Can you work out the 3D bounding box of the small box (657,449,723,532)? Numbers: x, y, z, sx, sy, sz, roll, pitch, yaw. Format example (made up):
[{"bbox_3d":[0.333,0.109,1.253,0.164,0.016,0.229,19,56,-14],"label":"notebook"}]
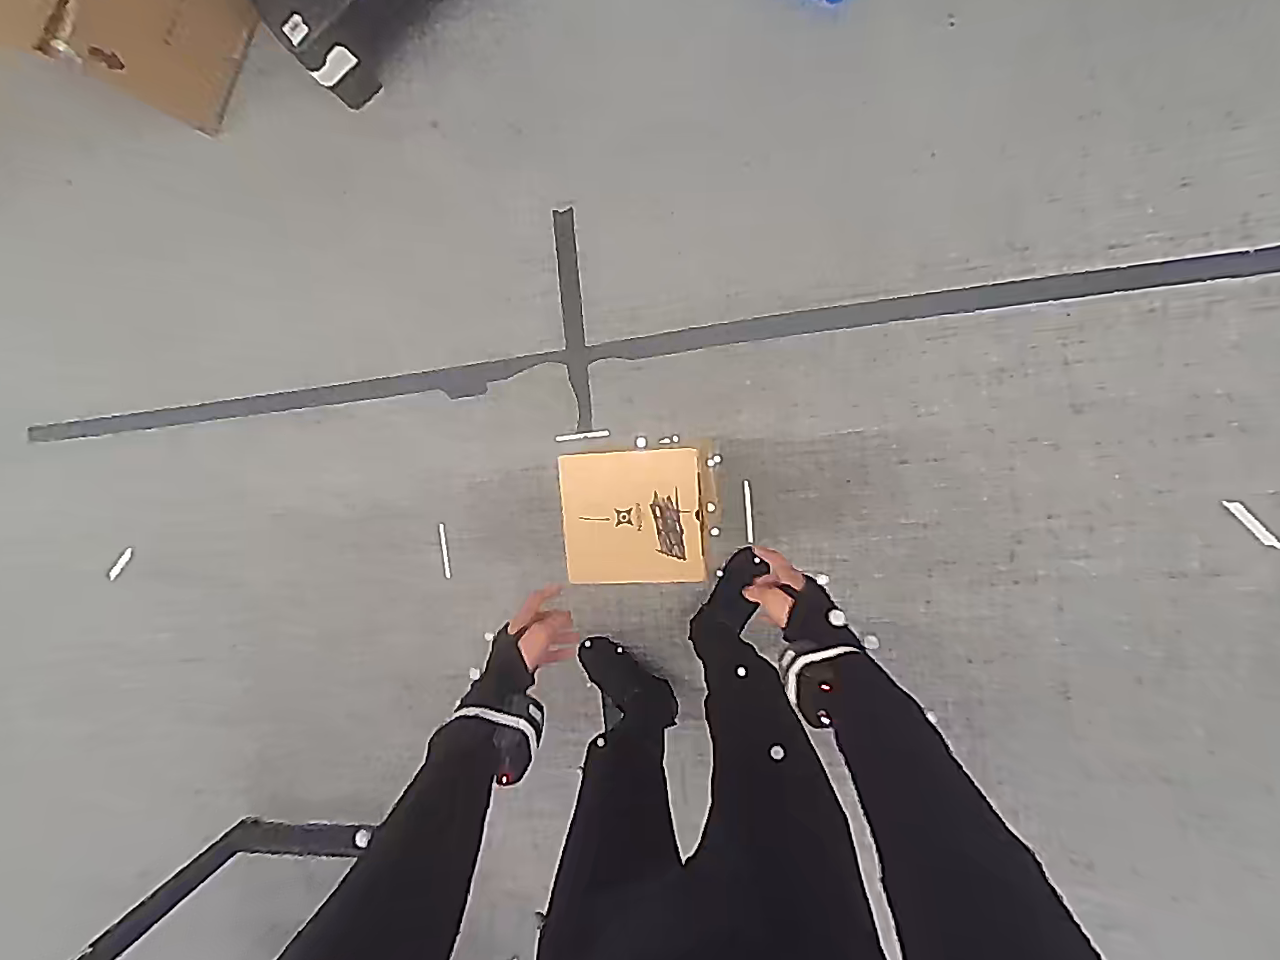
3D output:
[{"bbox_3d":[0.095,0.024,1.224,0.168,0.176,0.179,-8,96,11],"label":"small box"}]

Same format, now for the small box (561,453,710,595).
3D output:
[{"bbox_3d":[0.005,0.053,0.741,0.179,0.176,0.168,-3,95,11],"label":"small box"}]
